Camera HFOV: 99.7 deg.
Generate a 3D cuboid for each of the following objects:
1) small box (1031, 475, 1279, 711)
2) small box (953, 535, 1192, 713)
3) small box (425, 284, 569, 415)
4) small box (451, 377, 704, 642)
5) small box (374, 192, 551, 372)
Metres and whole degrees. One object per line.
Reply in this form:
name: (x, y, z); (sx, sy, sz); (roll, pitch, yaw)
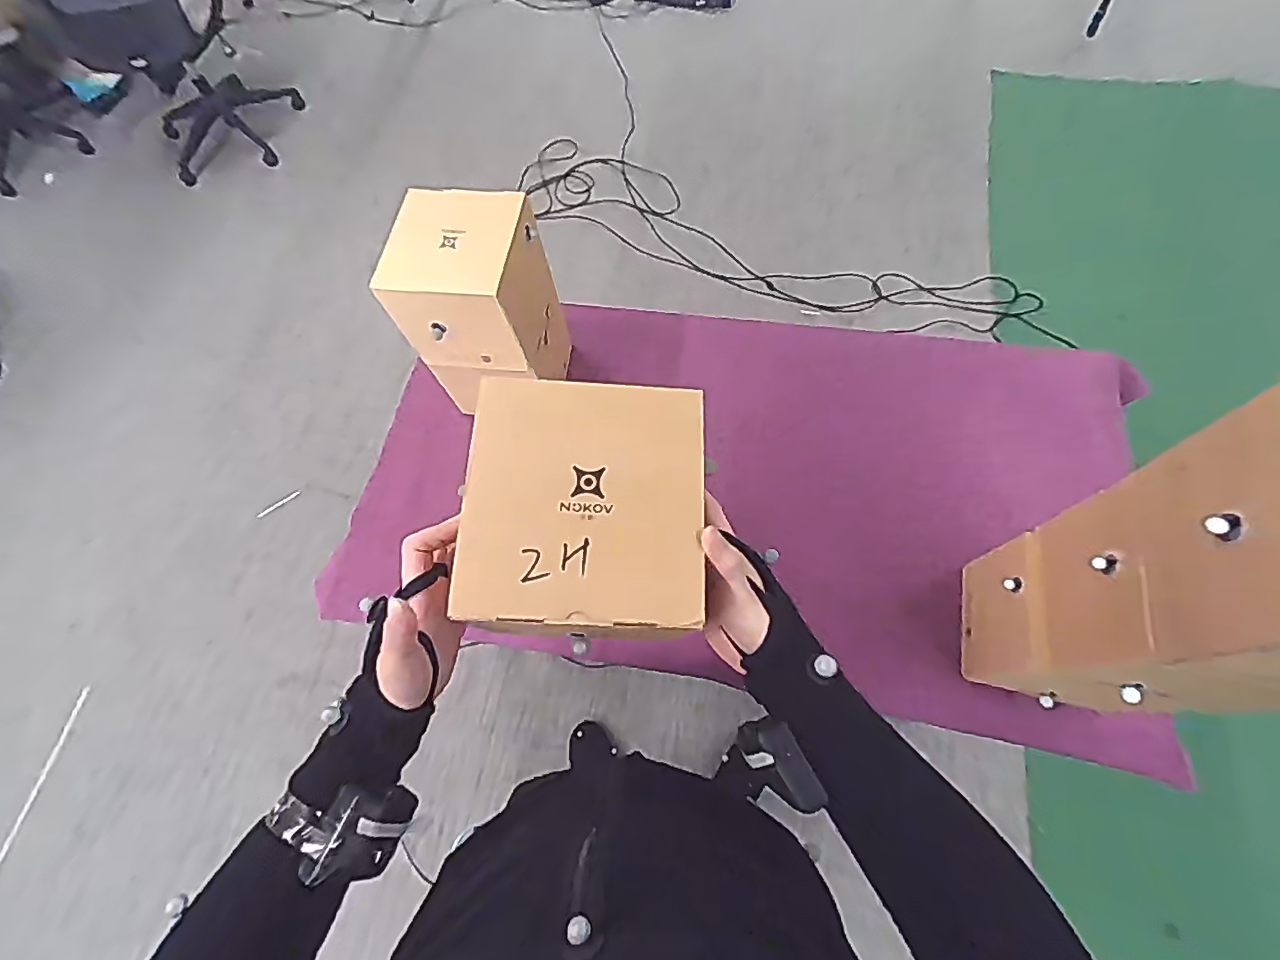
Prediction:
small box: (0.526, 0.120, 0.544); (0.168, 0.176, 0.179); (11, 68, 10)
small box: (0.534, 0.188, 0.691); (0.179, 0.176, 0.168); (12, 67, 9)
small box: (-0.227, -0.214, 0.915); (0.179, 0.176, 0.168); (5, 68, 6)
small box: (-0.043, 0.037, 0.452); (0.168, 0.176, 0.179); (3, 71, -3)
small box: (-0.234, -0.272, 0.764); (0.168, 0.176, 0.179); (5, 67, 6)
